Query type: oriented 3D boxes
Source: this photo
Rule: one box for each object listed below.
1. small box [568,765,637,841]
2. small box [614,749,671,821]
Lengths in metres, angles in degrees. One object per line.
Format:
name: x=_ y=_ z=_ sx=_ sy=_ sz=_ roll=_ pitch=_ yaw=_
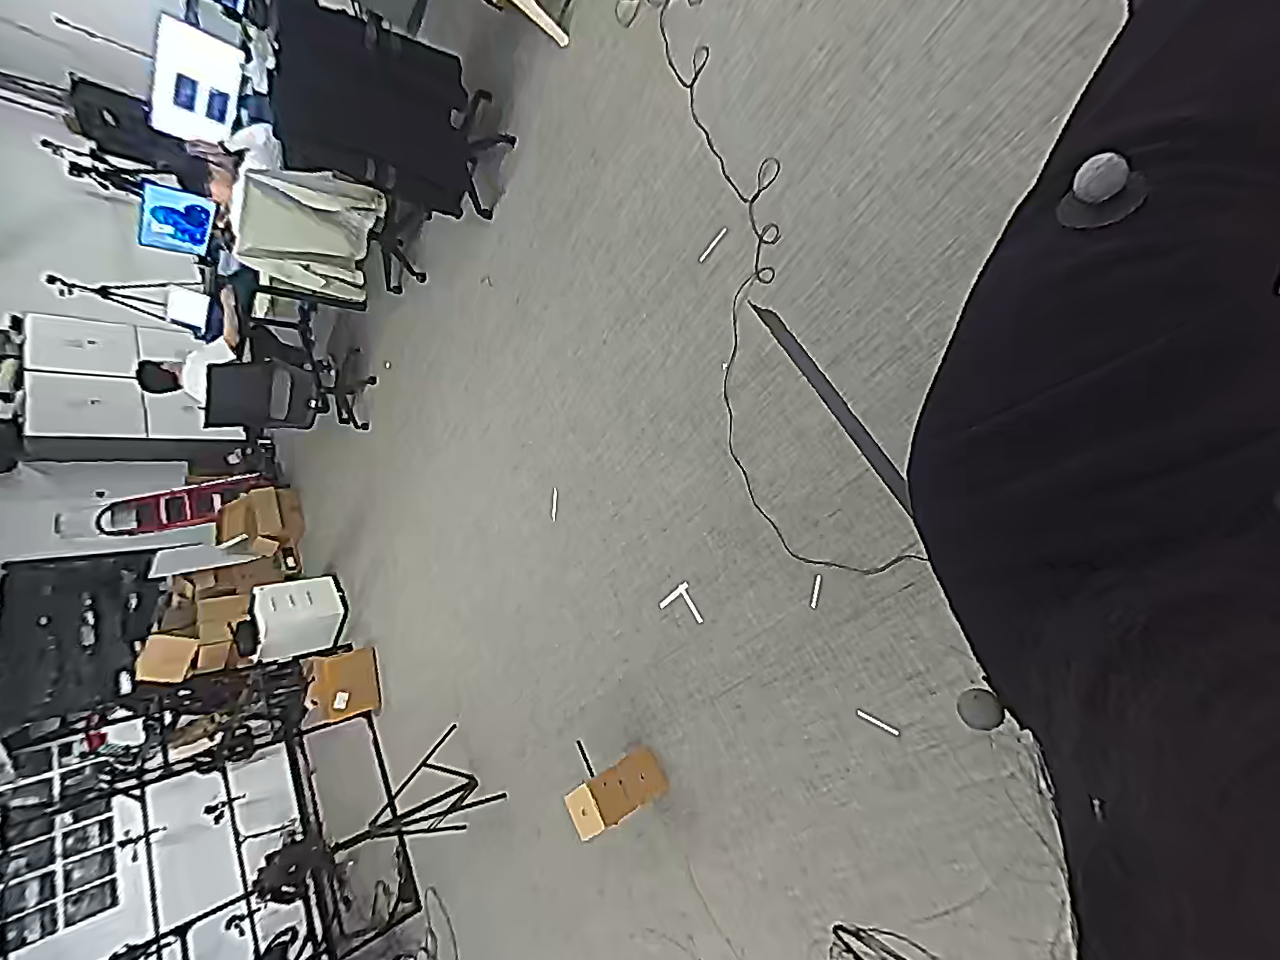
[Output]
small box: x=-0.134 y=1.199 z=2.016 sx=0.179 sy=0.176 sz=0.168 roll=-52 pitch=57 yaw=33
small box: x=-0.012 y=1.188 z=2.124 sx=0.179 sy=0.176 sz=0.168 roll=53 pitch=125 yaw=27
